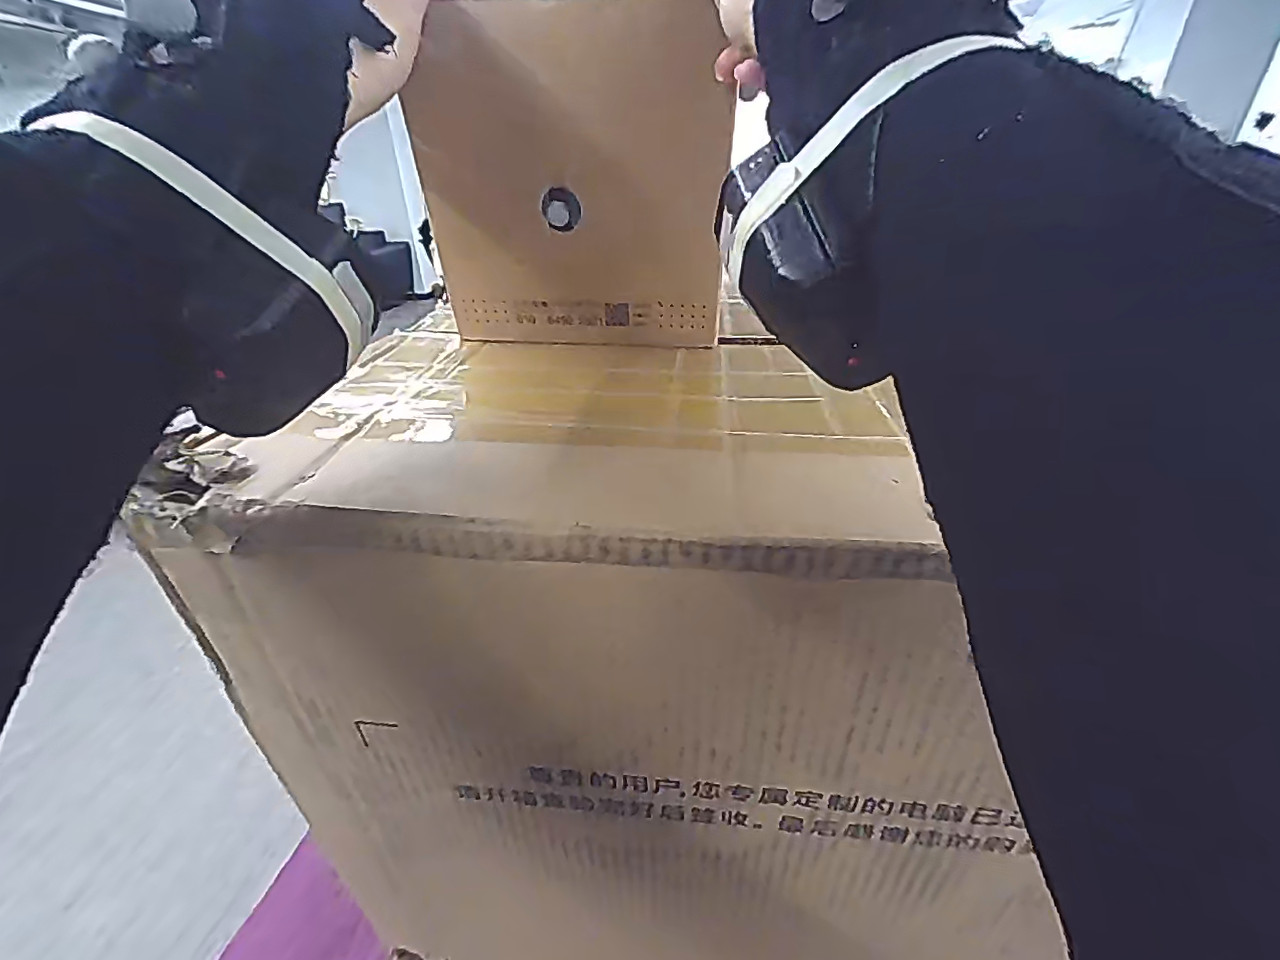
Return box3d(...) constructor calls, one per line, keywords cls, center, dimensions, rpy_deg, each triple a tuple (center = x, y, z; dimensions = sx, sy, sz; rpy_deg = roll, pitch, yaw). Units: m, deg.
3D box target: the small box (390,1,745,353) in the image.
box3d(cls="small box", center=(-0.024, -0.196, 0.353), dimensions=(0.168, 0.176, 0.179), rpy_deg=(4, 41, 5))
